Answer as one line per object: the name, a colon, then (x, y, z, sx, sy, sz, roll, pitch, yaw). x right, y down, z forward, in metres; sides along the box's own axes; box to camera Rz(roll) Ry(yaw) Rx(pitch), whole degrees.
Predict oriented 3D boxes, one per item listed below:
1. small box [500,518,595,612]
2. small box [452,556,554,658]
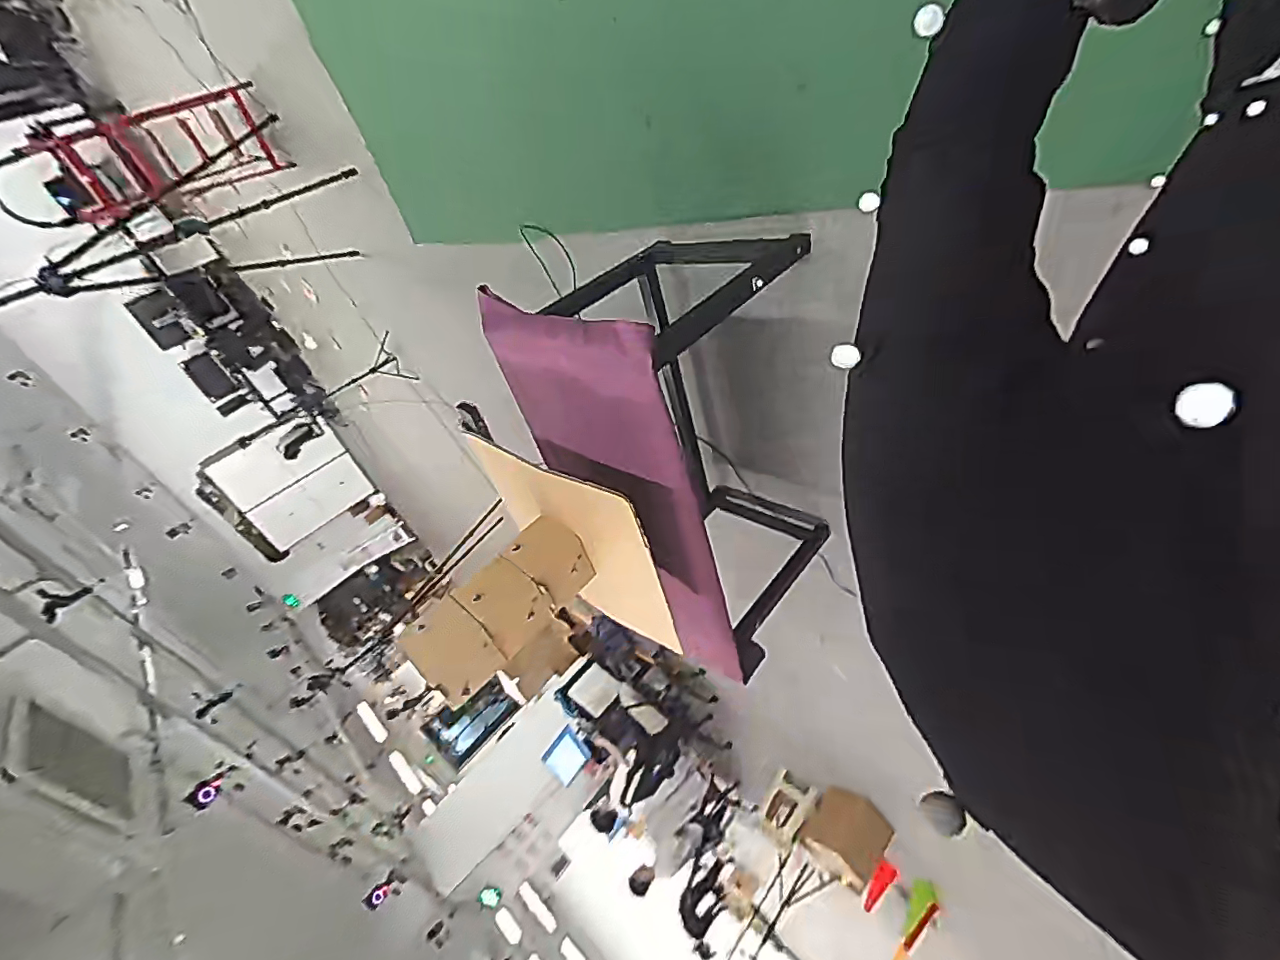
small box: (-0.256, 0.232, 1.519, 0.179, 0.176, 0.168, 23, 144, 40)
small box: (-0.361, 0.329, 1.441, 0.179, 0.176, 0.168, 21, 142, 42)
